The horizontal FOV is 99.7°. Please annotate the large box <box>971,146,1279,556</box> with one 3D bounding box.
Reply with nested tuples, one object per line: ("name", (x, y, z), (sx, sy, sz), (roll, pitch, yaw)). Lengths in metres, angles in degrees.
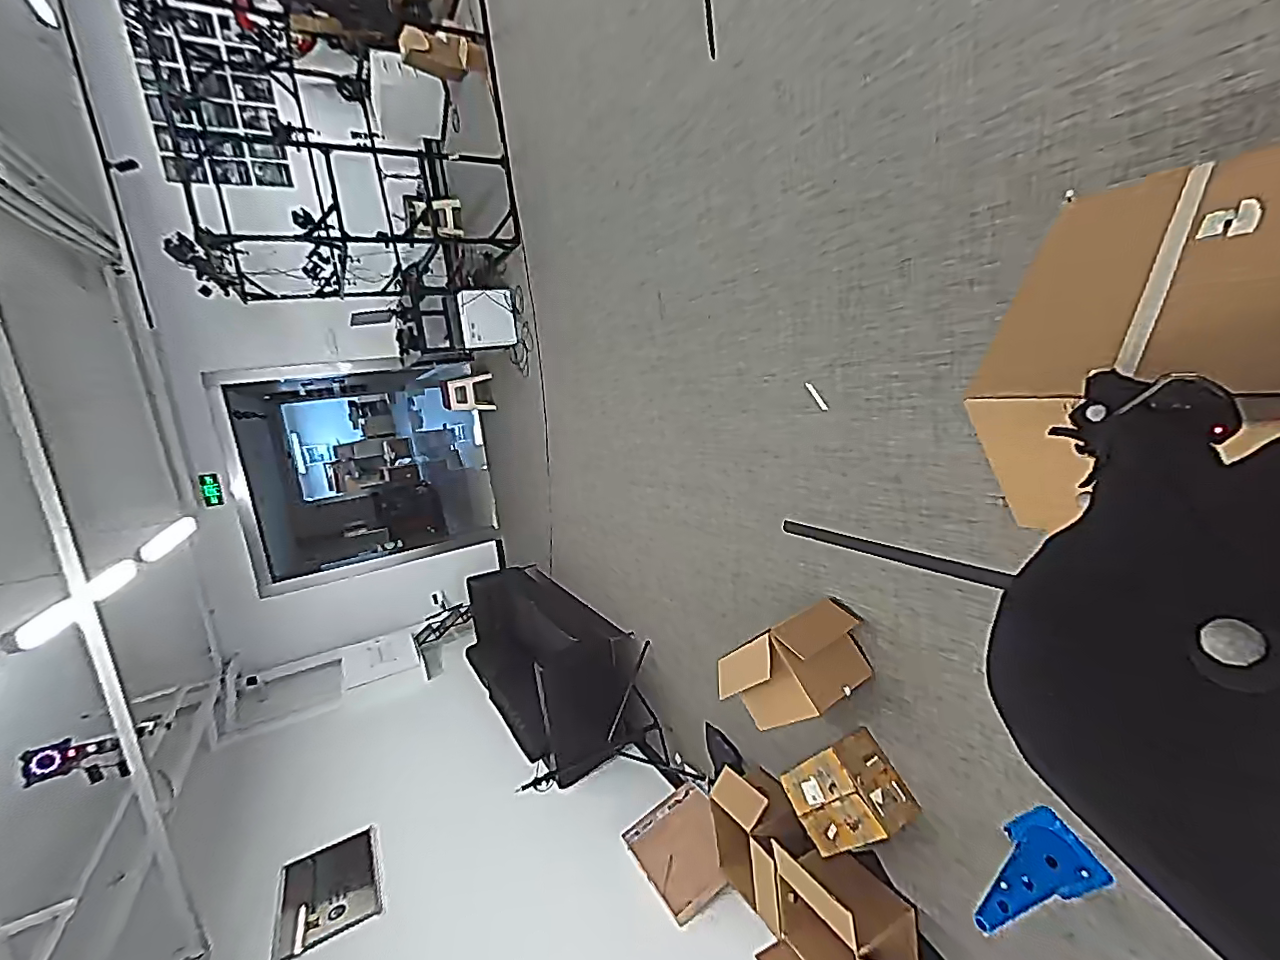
("large box", (0.724, -0.160, 0.730), (0.320, 0.408, 0.320), (45, 162, -31))
